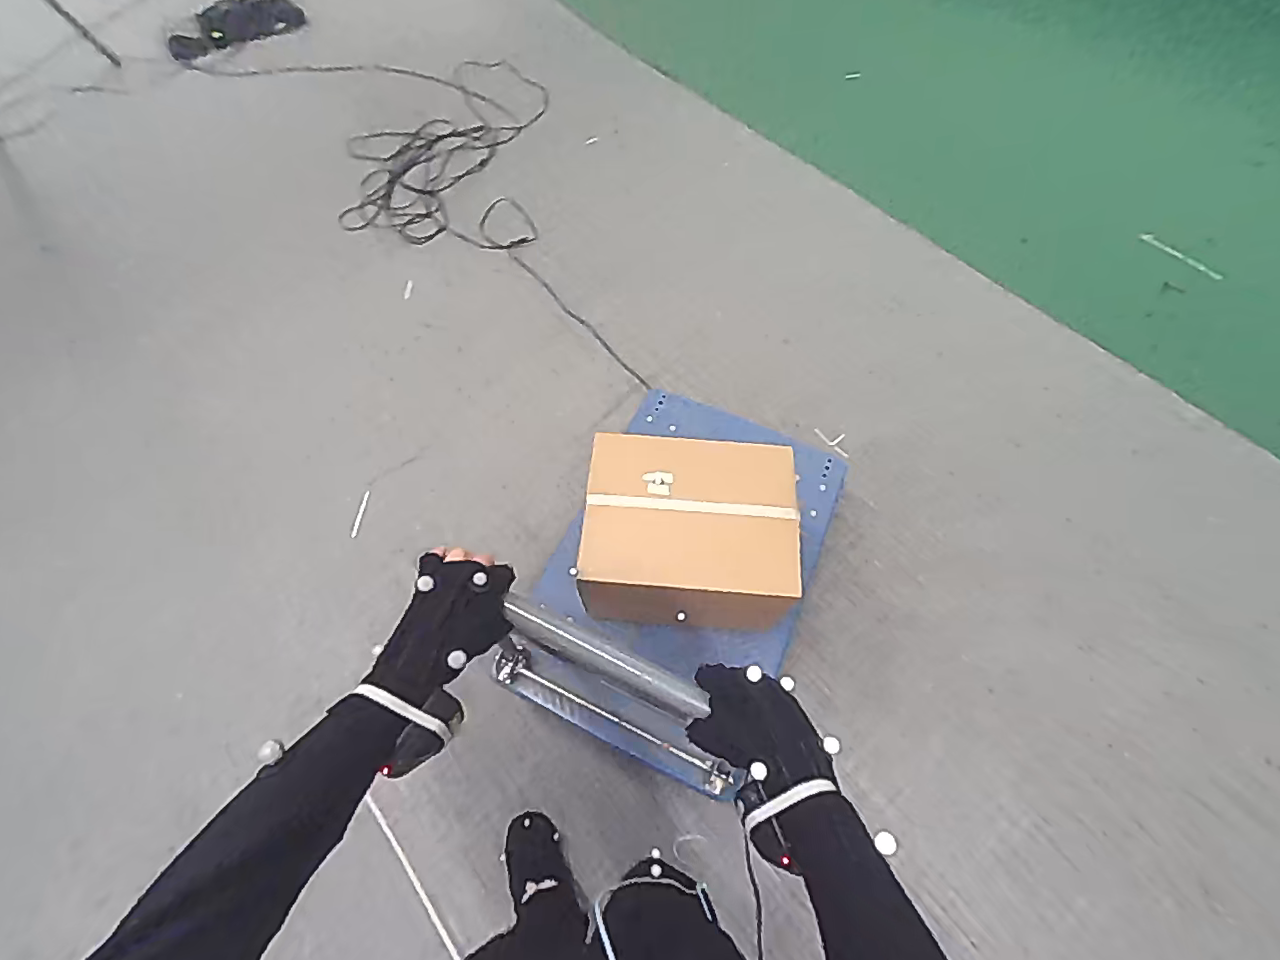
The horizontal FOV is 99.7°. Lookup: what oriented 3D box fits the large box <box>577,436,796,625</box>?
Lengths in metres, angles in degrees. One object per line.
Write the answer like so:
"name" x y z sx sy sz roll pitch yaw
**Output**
"large box" 0.095 0.122 1.174 0.408 0.320 0.320 4 62 2
